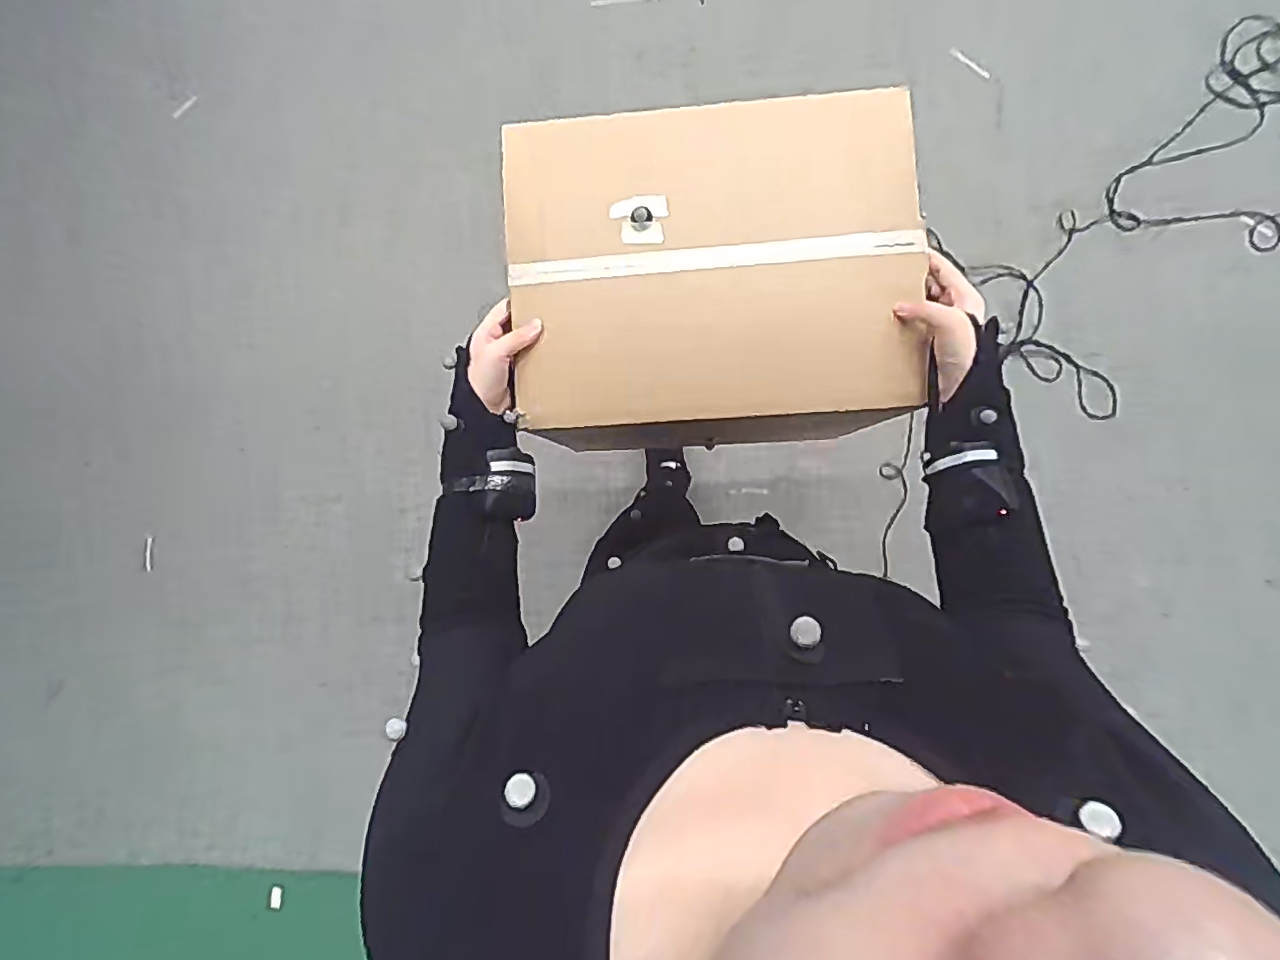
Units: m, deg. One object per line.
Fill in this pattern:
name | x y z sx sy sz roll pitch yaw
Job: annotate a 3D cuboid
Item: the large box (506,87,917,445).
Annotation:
large box | 0.080 -0.221 0.696 0.408 0.320 0.320 -4 88 5
